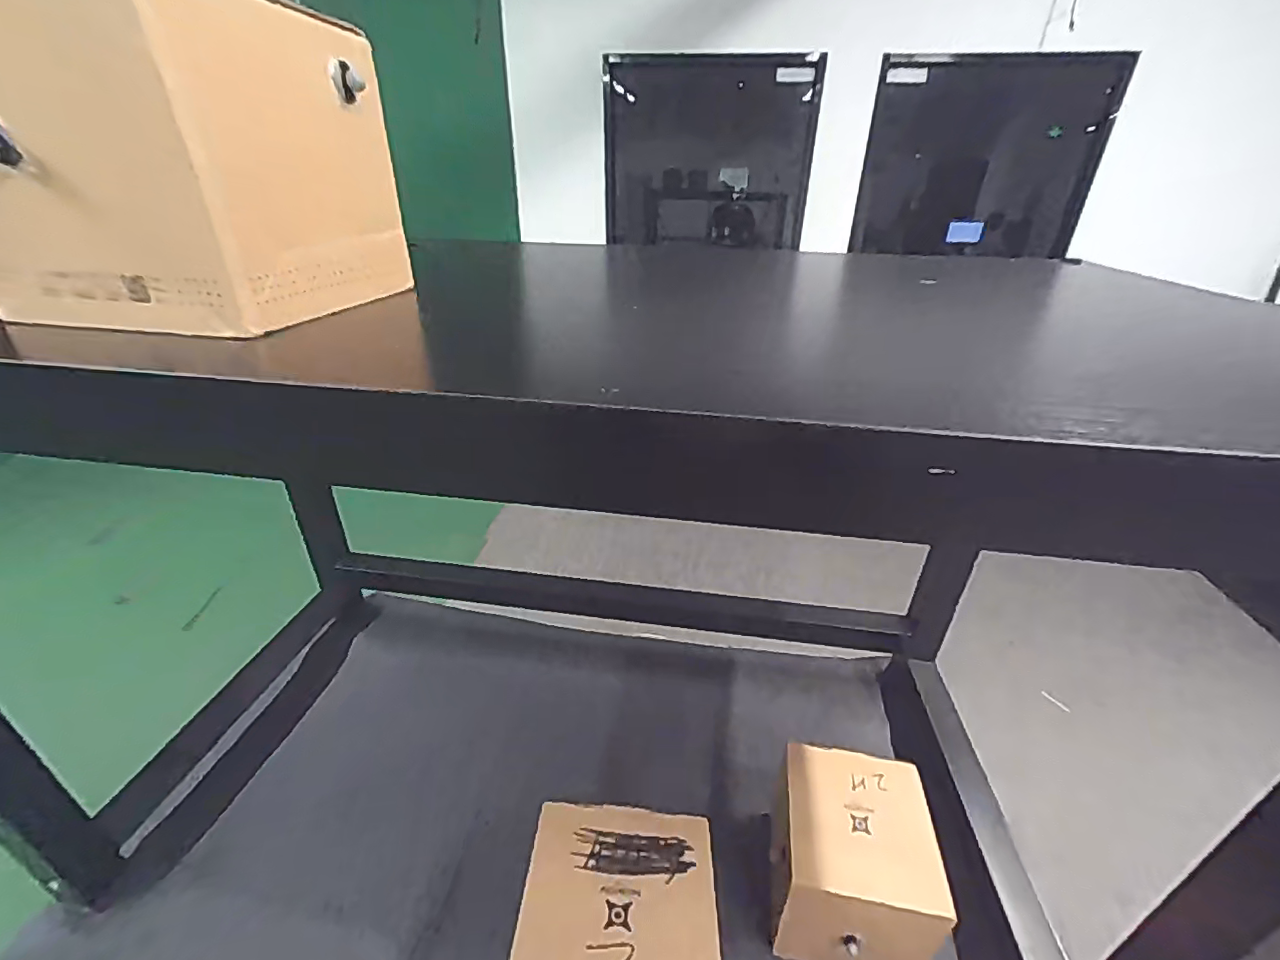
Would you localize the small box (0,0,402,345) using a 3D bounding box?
[{"bbox_3d":[-0.281,-0.191,0.350,0.168,0.176,0.179,5,28,8],"label":"small box"}]

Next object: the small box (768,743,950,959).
[{"bbox_3d":[0.254,0.470,0.671,0.168,0.176,0.179,7,28,10],"label":"small box"}]
